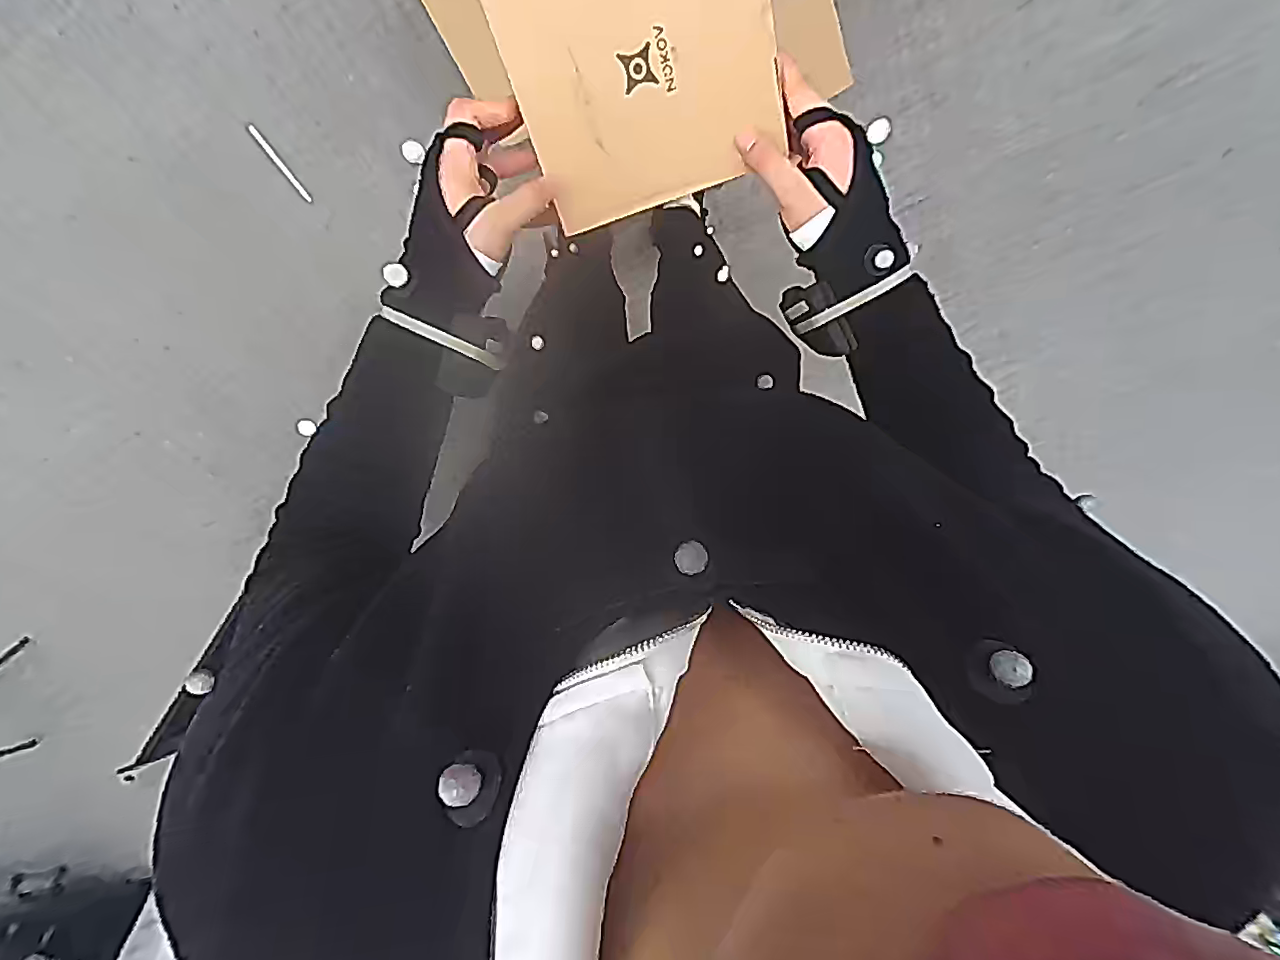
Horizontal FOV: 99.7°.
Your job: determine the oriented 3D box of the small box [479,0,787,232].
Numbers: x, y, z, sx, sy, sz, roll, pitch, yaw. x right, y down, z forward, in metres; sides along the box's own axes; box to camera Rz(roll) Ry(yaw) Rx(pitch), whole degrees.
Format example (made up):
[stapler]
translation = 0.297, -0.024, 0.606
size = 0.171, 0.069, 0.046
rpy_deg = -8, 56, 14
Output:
[small box]
translation = -0.004, -0.320, 0.422
size = 0.179, 0.176, 0.168
rpy_deg = -17, 123, 8
